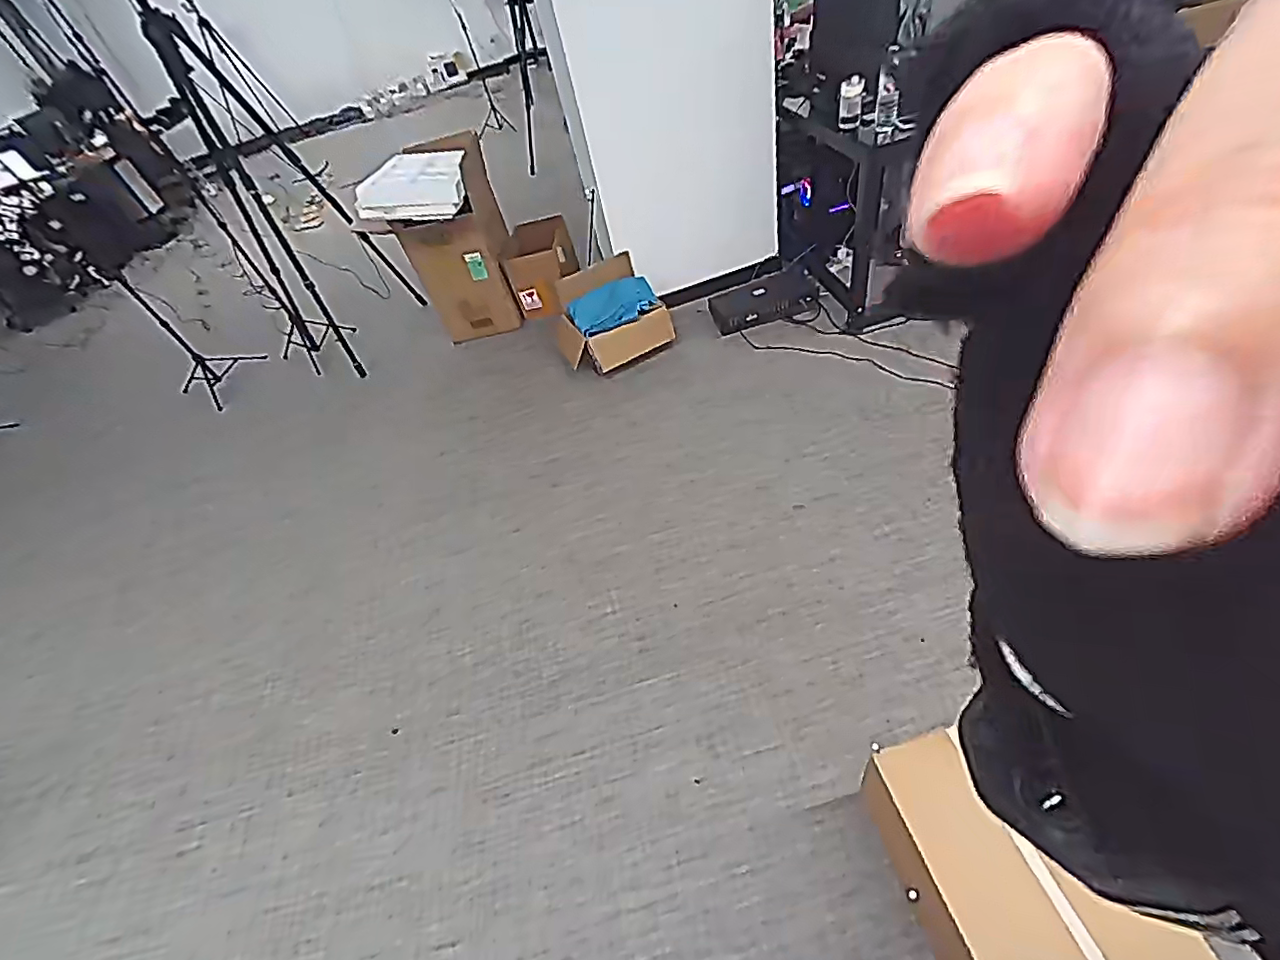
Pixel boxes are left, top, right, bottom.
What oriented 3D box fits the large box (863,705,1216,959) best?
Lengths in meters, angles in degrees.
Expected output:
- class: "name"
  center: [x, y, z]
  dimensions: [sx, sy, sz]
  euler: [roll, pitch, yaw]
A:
- class: "large box"
  center: [0.664, 0.709, 0.999]
  dimensions: [0.320, 0.320, 0.408]
  euler: [-18, 45, -1]
